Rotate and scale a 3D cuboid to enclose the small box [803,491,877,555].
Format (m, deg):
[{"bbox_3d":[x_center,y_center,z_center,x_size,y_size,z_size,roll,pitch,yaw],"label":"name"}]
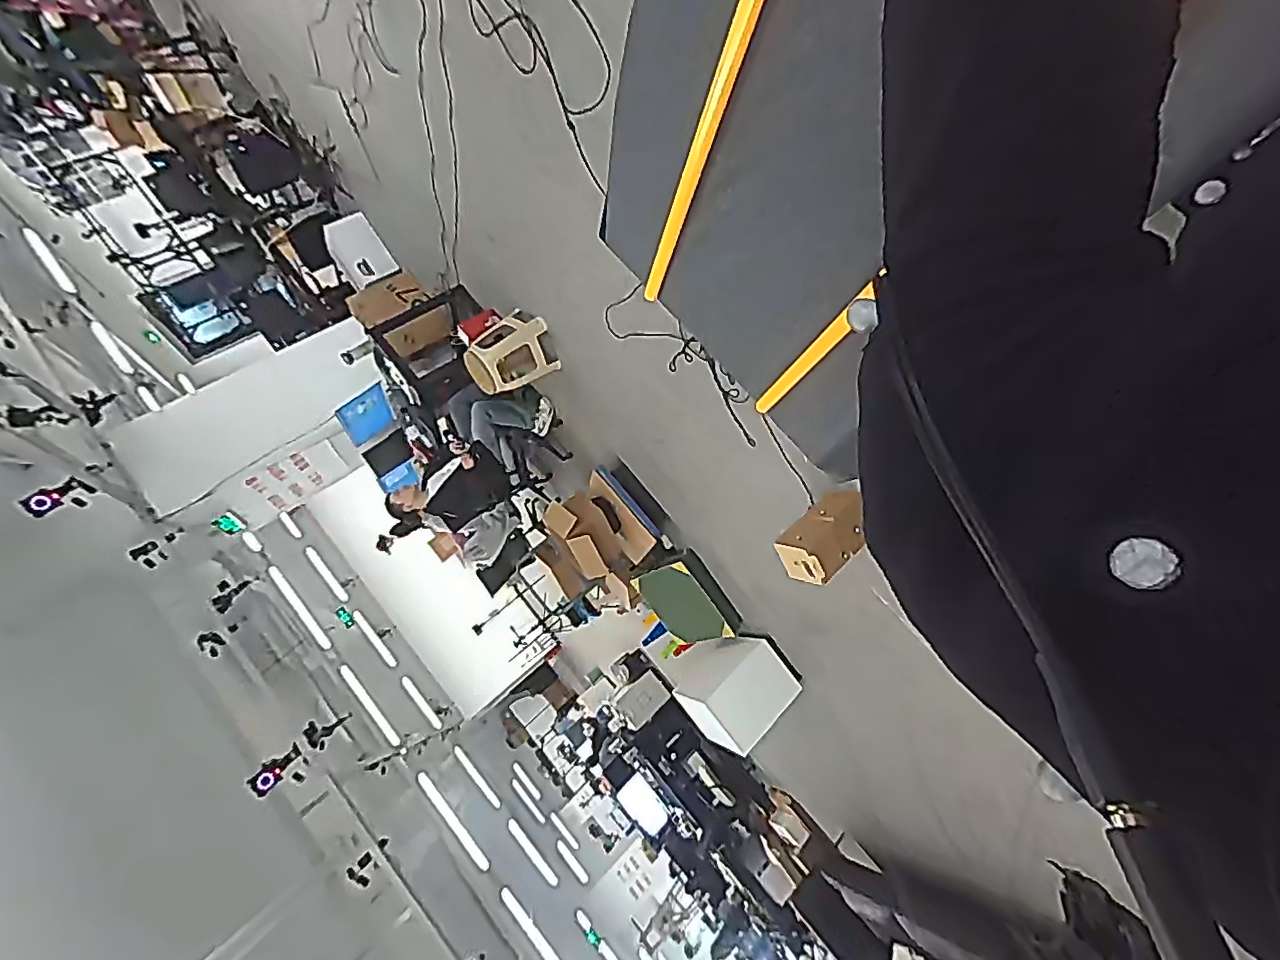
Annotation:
[{"bbox_3d":[0.765,0.161,2.061,0.179,0.176,0.168,58,157,-12],"label":"small box"}]

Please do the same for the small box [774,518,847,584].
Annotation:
[{"bbox_3d":[0.641,0.256,2.008,0.179,0.176,0.168,4,127,62],"label":"small box"}]
